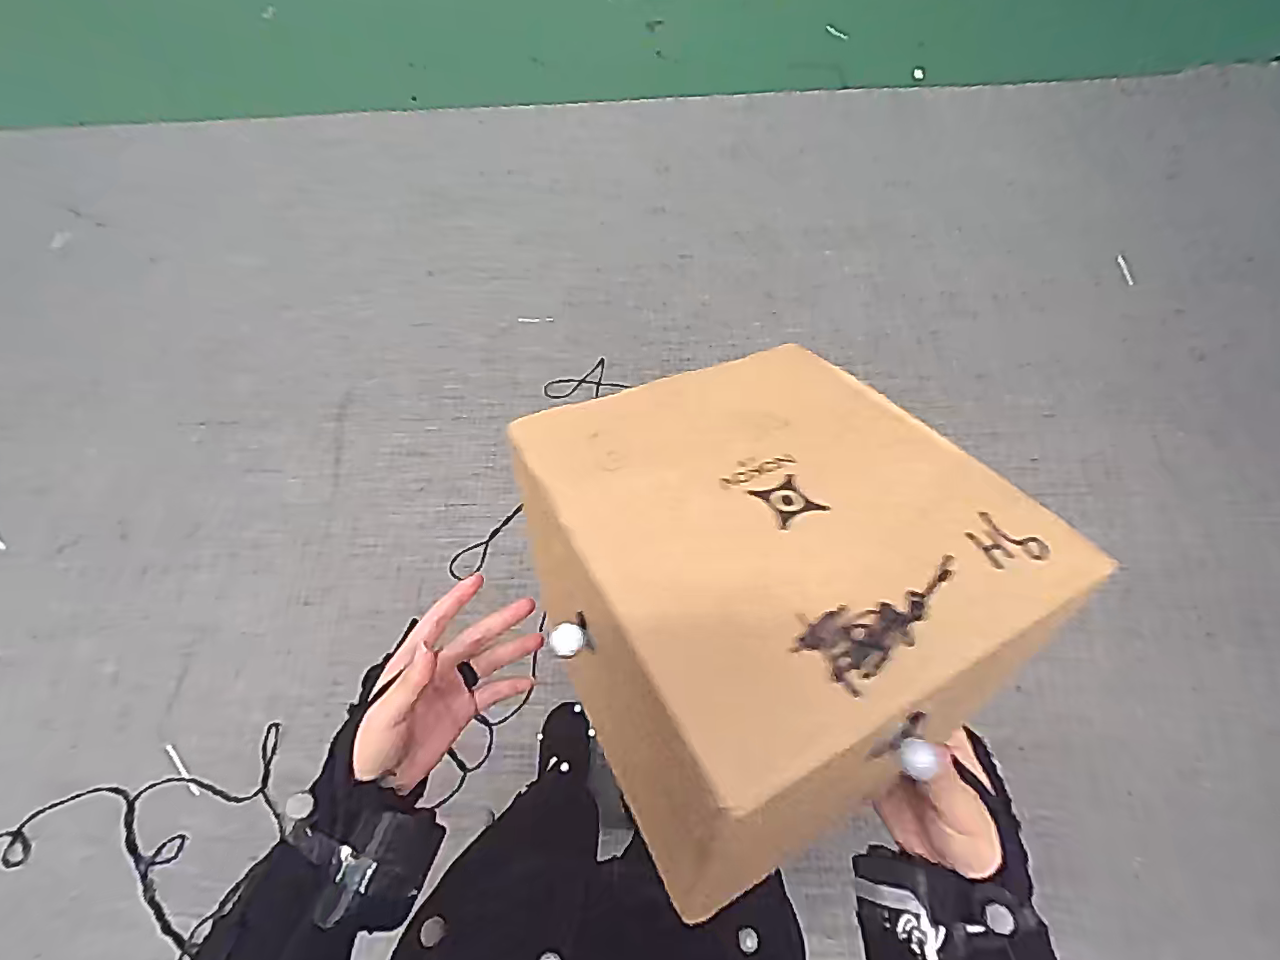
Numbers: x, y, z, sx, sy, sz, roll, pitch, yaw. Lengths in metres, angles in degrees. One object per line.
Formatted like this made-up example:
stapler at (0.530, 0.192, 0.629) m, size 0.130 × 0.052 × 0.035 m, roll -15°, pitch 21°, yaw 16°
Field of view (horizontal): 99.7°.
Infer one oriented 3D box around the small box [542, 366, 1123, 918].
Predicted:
small box at (0.063, 0.071, 0.275) m, size 0.168 × 0.176 × 0.179 m, roll -21°, pitch 47°, yaw -20°
